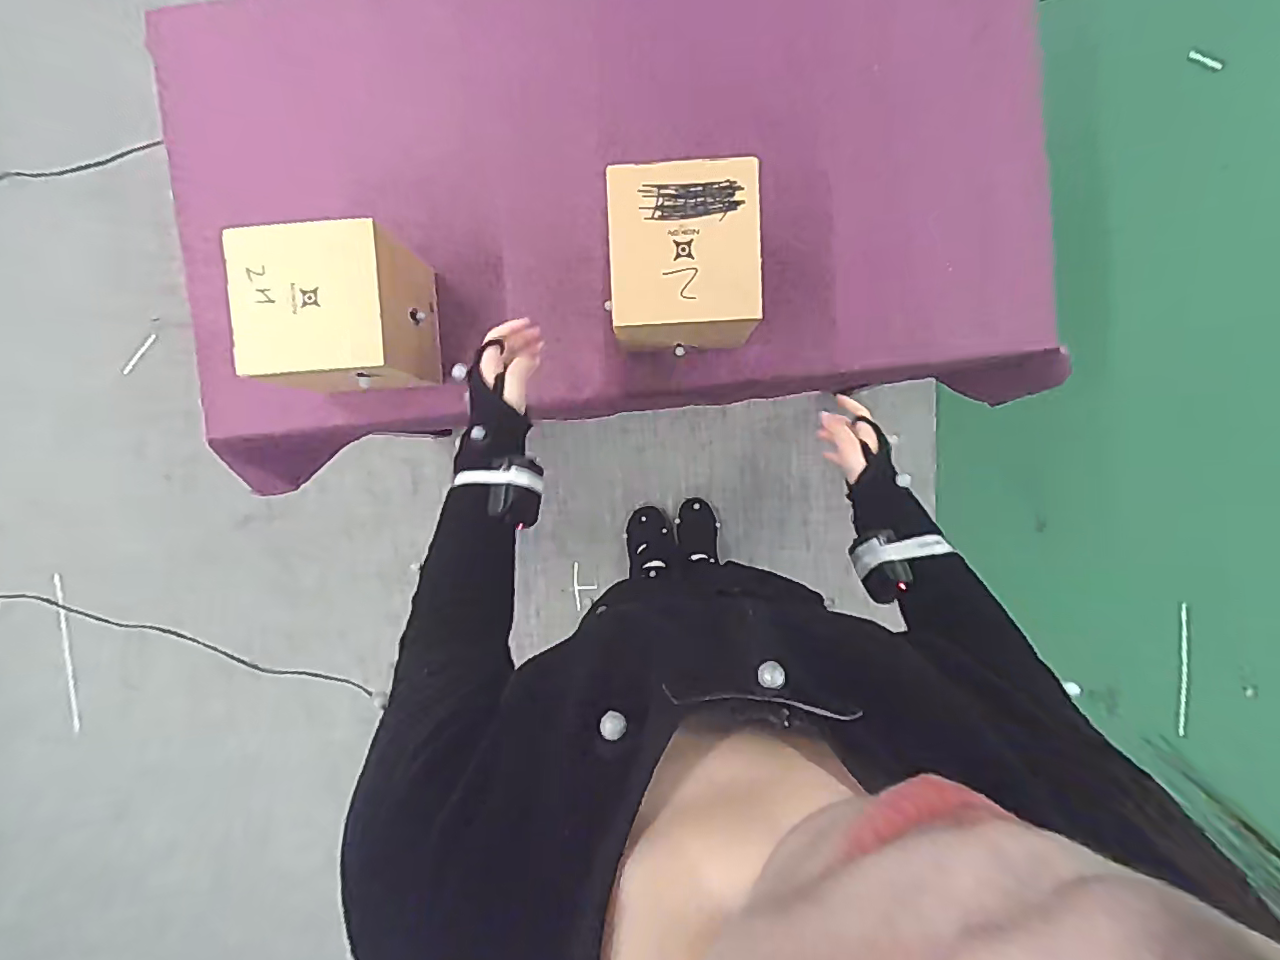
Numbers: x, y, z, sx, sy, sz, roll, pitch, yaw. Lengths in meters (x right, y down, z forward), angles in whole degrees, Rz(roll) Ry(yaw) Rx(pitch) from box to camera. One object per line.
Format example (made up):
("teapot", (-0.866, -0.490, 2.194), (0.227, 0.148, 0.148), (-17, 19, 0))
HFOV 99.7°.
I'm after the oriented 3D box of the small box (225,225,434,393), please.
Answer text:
("small box", (-0.377, -0.206, 0.691), (0.179, 0.176, 0.168), (-3, 92, 3))
